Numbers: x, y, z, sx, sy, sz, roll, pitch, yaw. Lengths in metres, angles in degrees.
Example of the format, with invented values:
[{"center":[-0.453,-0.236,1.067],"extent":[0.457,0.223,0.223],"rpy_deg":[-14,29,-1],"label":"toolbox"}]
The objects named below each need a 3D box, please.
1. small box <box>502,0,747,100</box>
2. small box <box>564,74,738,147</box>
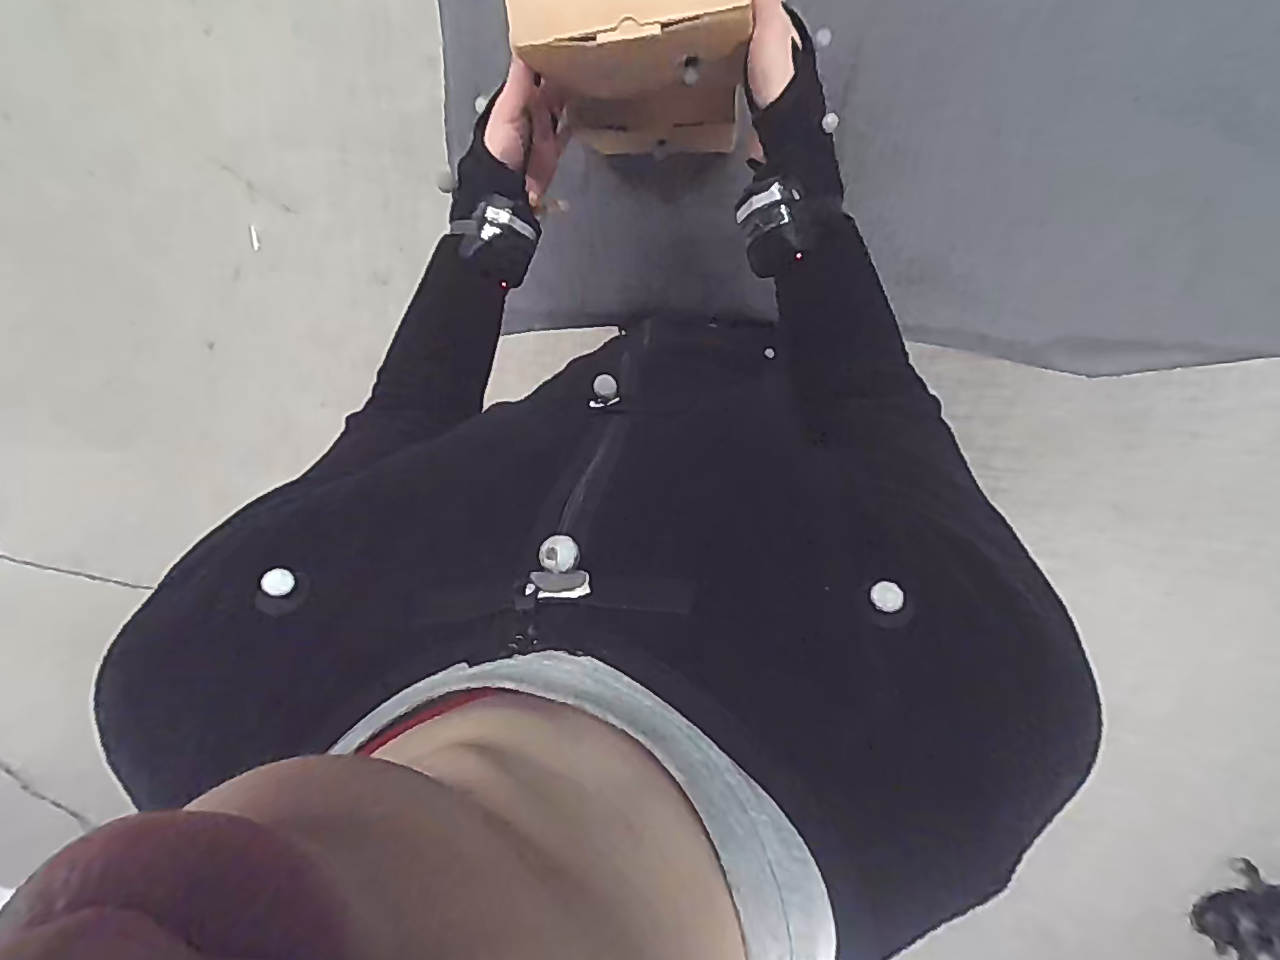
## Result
[{"center":[-0.005,-0.408,0.401],"extent":[0.168,0.176,0.179],"rpy_deg":[-2,111,9],"label":"small box"},{"center":[0.019,-0.452,0.558],"extent":[0.168,0.176,0.179],"rpy_deg":[3,115,7],"label":"small box"}]
